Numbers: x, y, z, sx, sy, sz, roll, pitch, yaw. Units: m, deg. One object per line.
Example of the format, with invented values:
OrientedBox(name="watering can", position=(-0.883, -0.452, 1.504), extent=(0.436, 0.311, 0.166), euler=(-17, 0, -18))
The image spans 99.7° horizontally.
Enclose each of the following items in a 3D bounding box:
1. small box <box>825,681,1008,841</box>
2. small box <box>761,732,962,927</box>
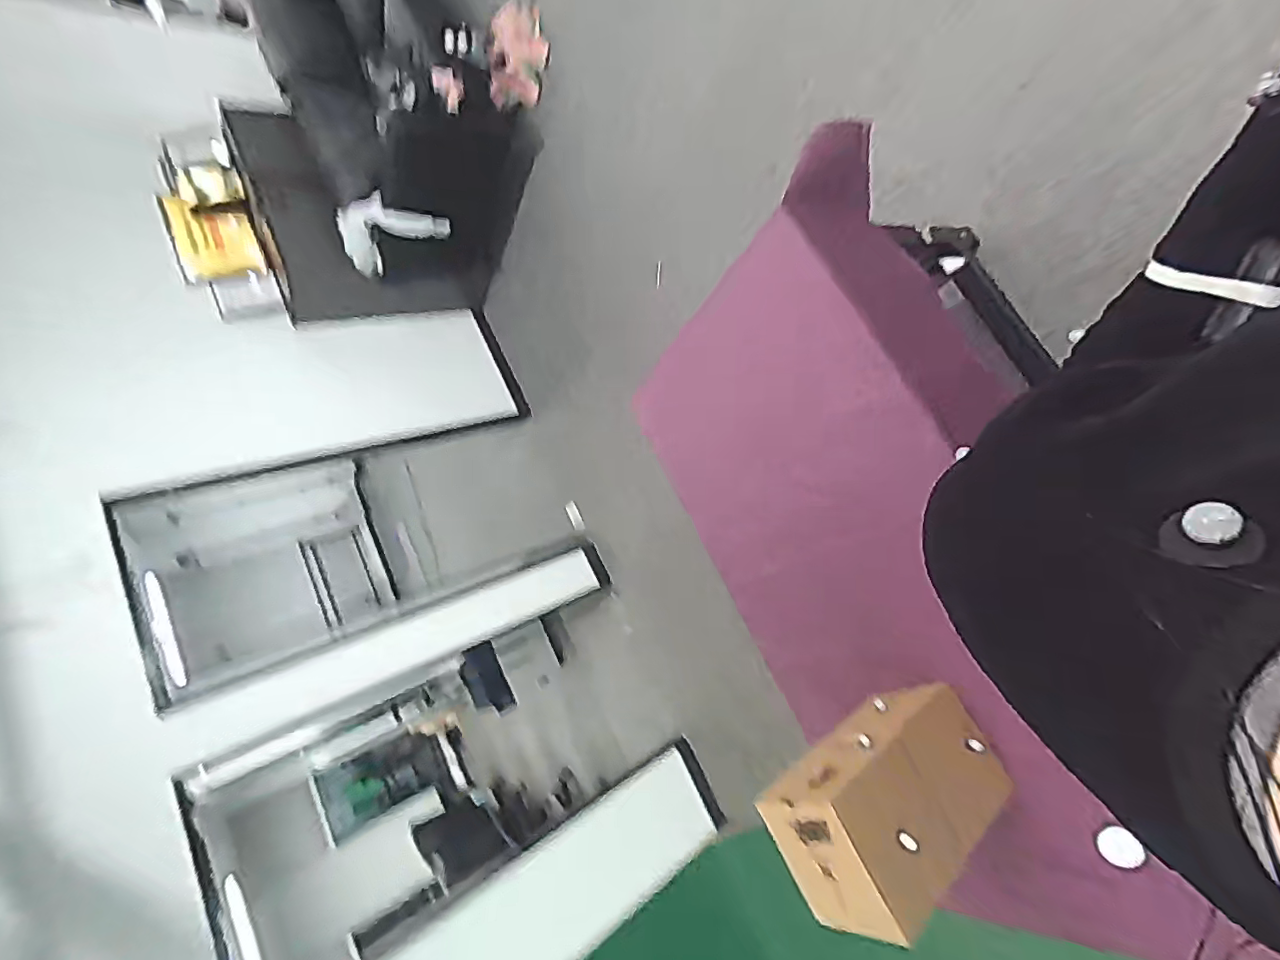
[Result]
OrientedBox(name="small box", position=(0.449, 0.449, 0.885), extent=(0.179, 0.176, 0.168), euler=(61, 144, 15))
OrientedBox(name="small box", position=(0.320, 0.491, 0.791), extent=(0.179, 0.176, 0.168), euler=(60, 144, 14))
